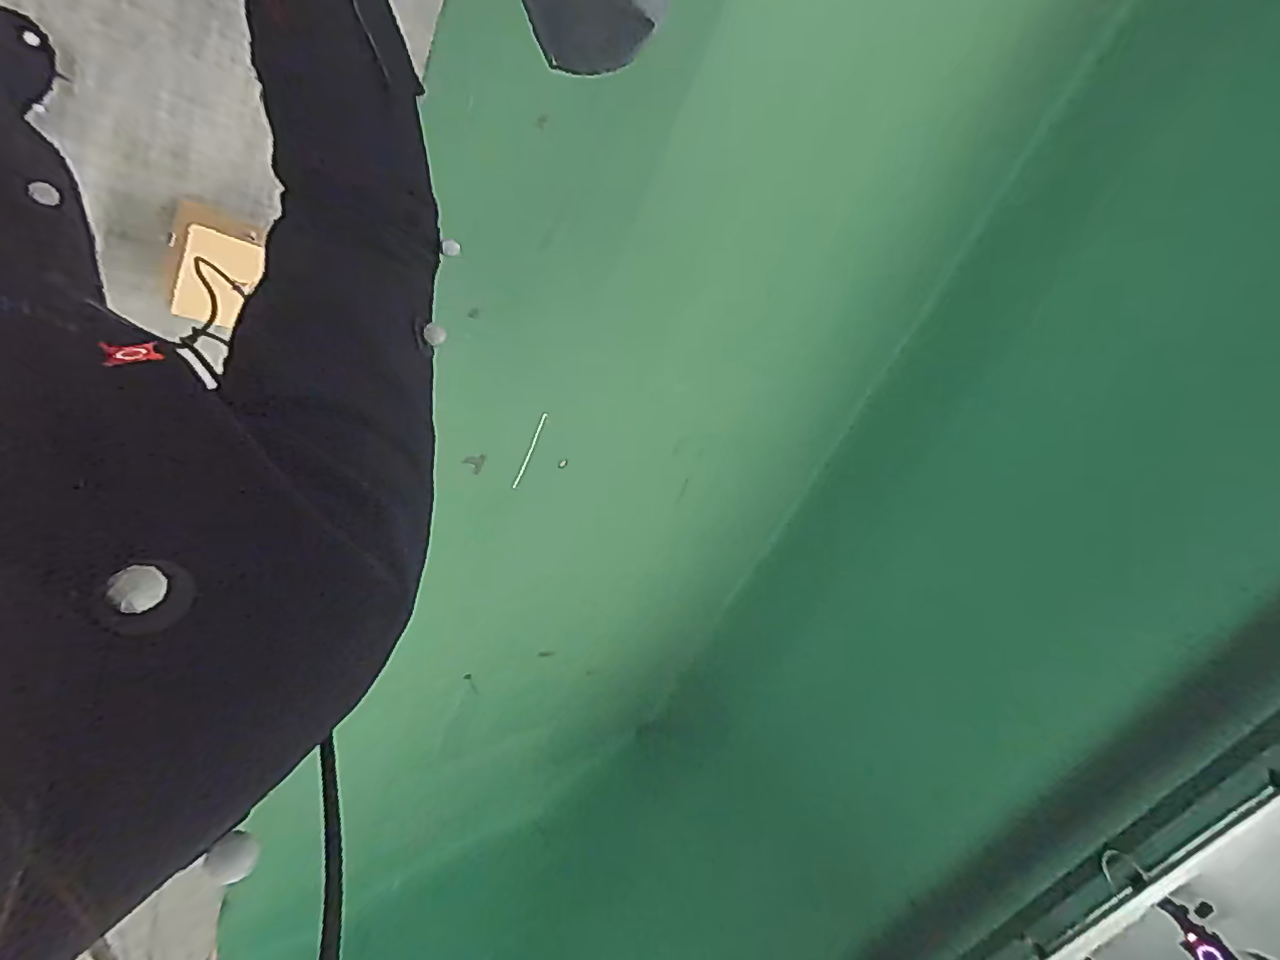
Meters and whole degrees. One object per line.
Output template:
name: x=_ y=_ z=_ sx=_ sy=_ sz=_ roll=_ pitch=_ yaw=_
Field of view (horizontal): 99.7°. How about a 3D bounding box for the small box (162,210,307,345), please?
small box: x=-0.772 y=-0.385 z=1.028 sx=0.179 sy=0.176 sz=0.168 roll=7 pitch=117 yaw=-50
